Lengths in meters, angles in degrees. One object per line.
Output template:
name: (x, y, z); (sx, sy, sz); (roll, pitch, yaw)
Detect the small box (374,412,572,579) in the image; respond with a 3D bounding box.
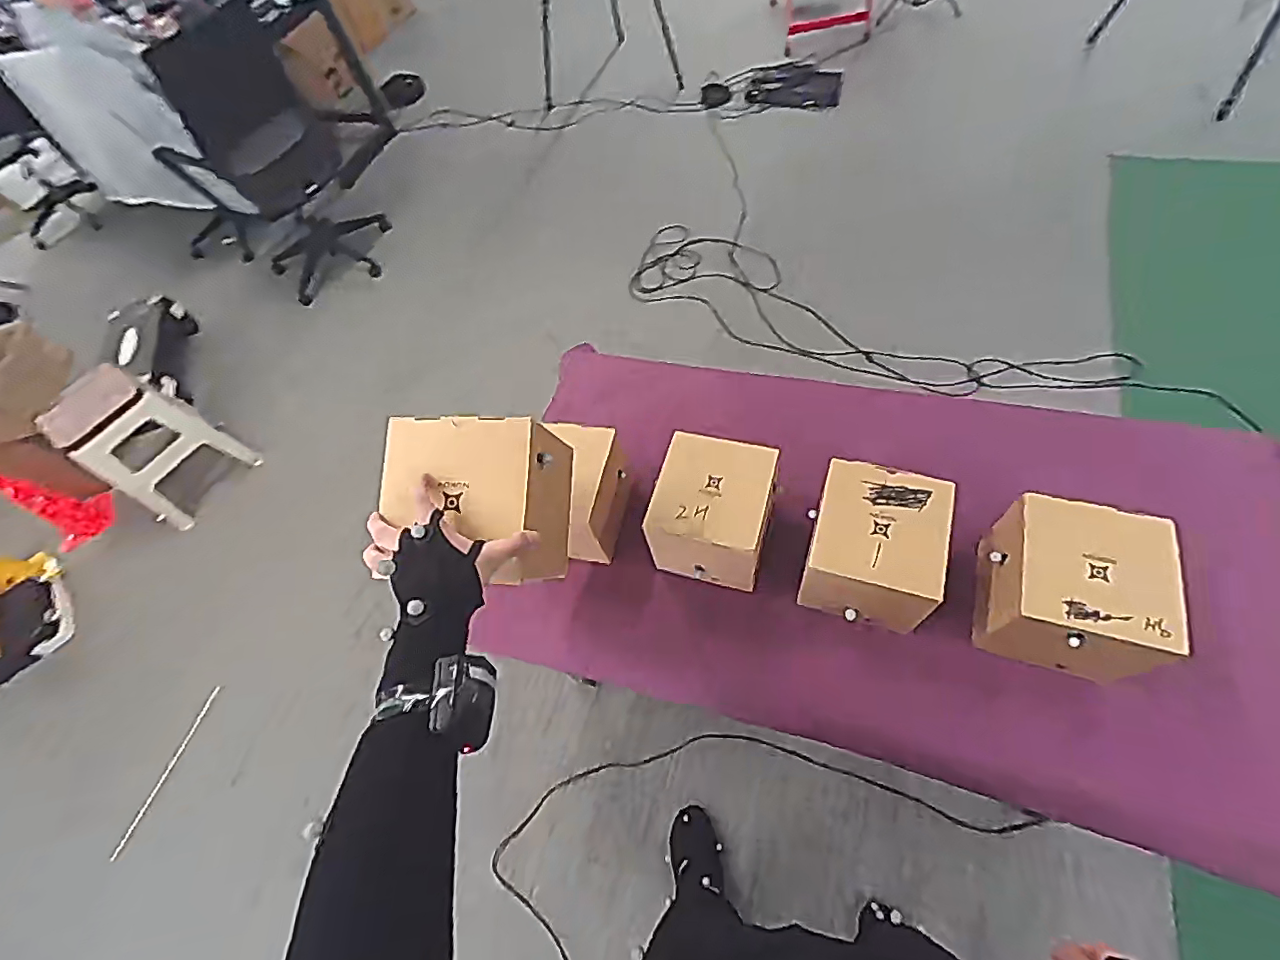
small box: (-0.186, 0.025, 0.650); (0.168, 0.176, 0.179); (1, 81, 9)

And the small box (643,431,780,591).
small box: (0.117, 0.052, 0.859); (0.168, 0.176, 0.179); (12, 64, 17)

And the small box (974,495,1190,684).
small box: (0.566, 0.148, 0.719); (0.168, 0.176, 0.179); (13, 63, 18)

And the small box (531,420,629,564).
small box: (-0.123, 0.022, 0.922); (0.168, 0.176, 0.179); (7, 62, 15)
